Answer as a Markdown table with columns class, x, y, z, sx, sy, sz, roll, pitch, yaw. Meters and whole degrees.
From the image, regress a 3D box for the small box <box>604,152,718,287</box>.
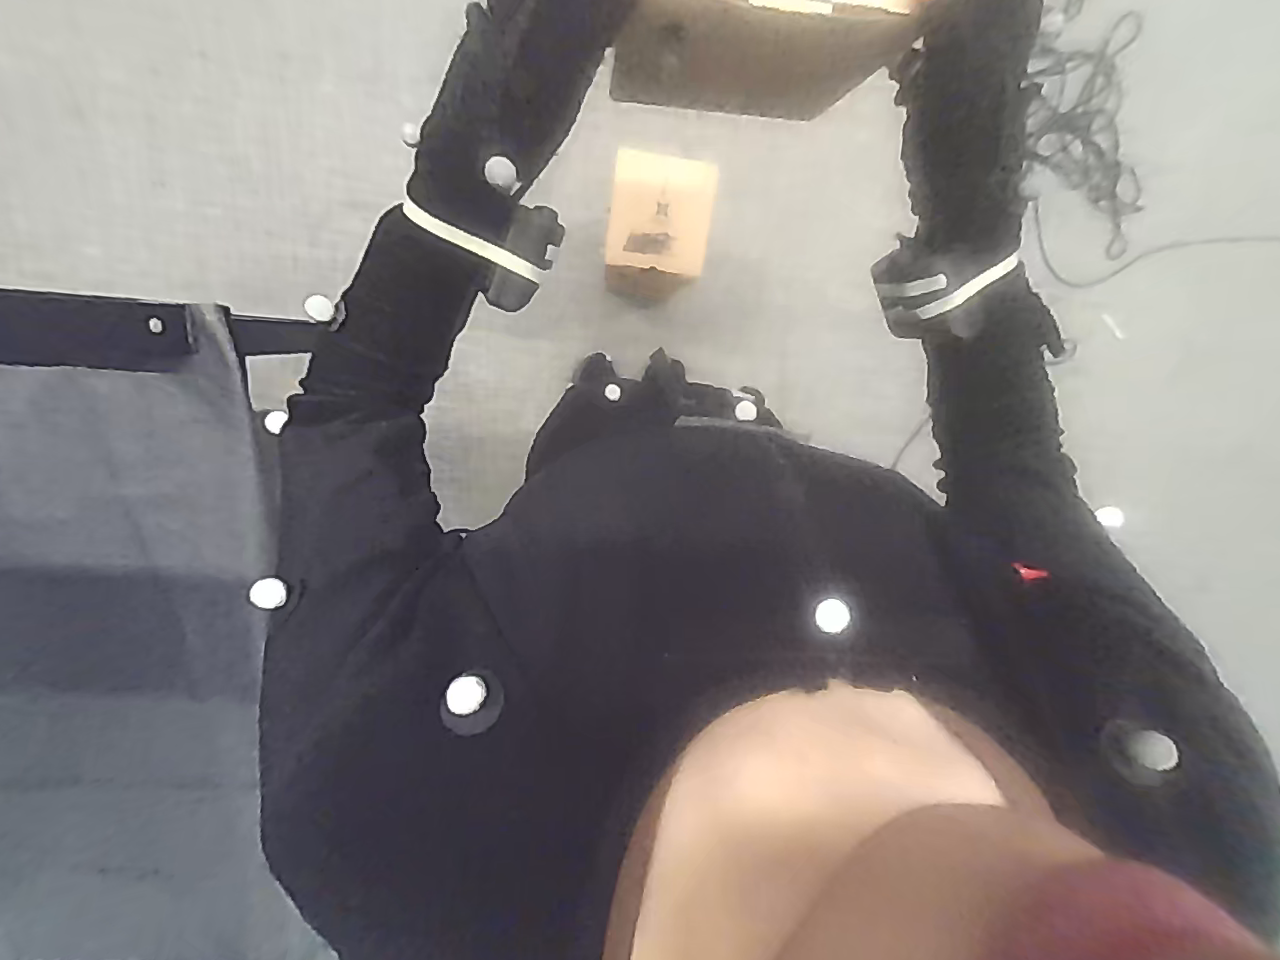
| class | x | y | z | sx | sy | sz | roll | pitch | yaw |
| --- | --- | --- | --- | --- | --- | --- | --- | --- | --- |
| small box | 0.030 | -0.450 | 0.965 | 0.168 | 0.176 | 0.179 | 7 | 103 | -5 |

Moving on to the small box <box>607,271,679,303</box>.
| class | x | y | z | sx | sy | sz | roll | pitch | yaw |
| --- | --- | --- | --- | --- | --- | --- | --- | --- | --- |
| small box | 0.016 | -0.529 | 1.281 | 0.168 | 0.176 | 0.179 | 10 | 104 | -5 |
